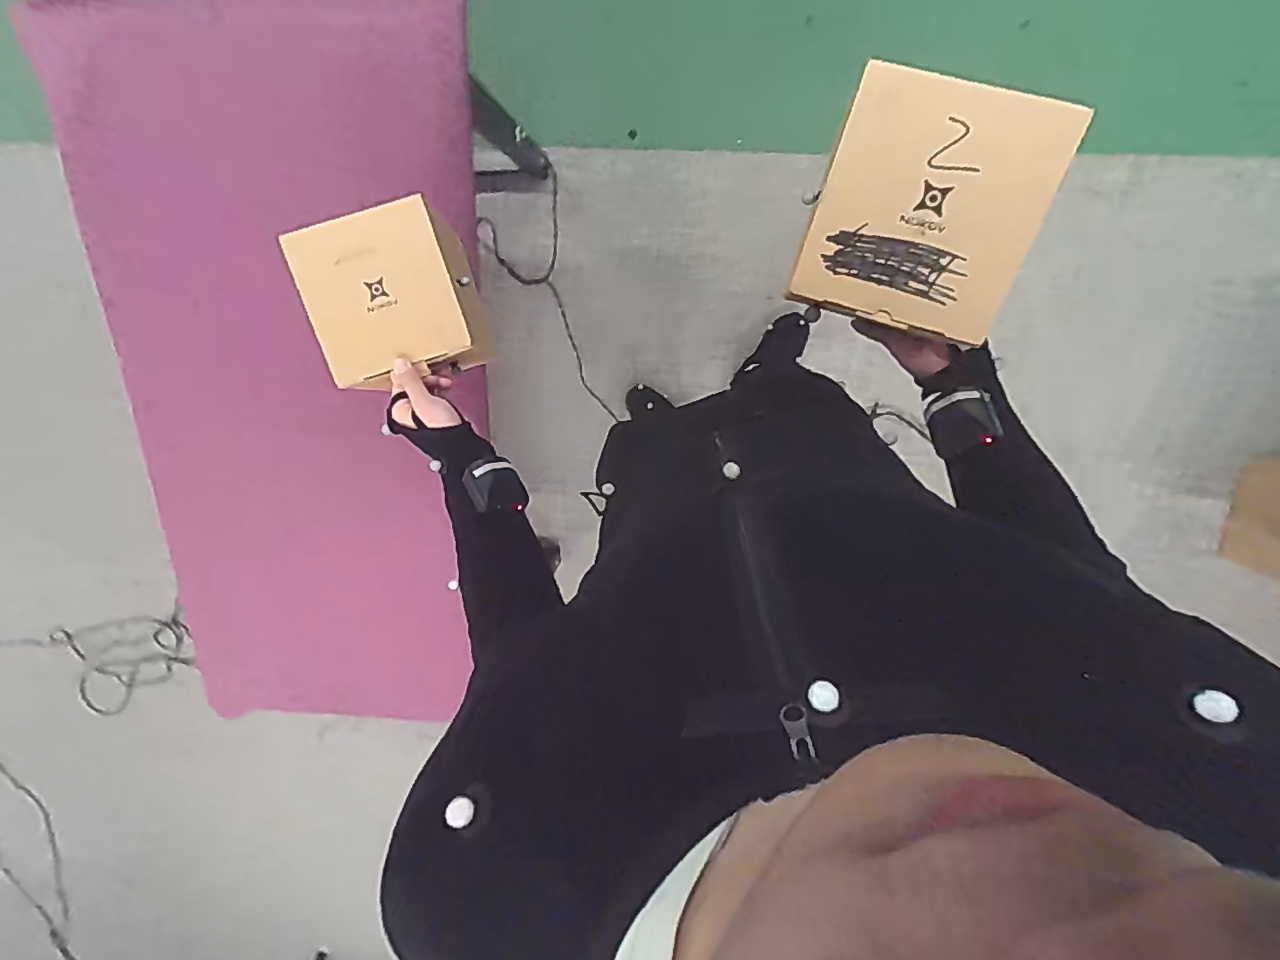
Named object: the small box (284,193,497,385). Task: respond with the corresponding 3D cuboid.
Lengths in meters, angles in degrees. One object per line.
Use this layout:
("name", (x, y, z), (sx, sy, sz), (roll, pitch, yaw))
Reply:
("small box", (-0.296, -0.227, 0.687), (0.168, 0.176, 0.179), (-17, 99, -2))
